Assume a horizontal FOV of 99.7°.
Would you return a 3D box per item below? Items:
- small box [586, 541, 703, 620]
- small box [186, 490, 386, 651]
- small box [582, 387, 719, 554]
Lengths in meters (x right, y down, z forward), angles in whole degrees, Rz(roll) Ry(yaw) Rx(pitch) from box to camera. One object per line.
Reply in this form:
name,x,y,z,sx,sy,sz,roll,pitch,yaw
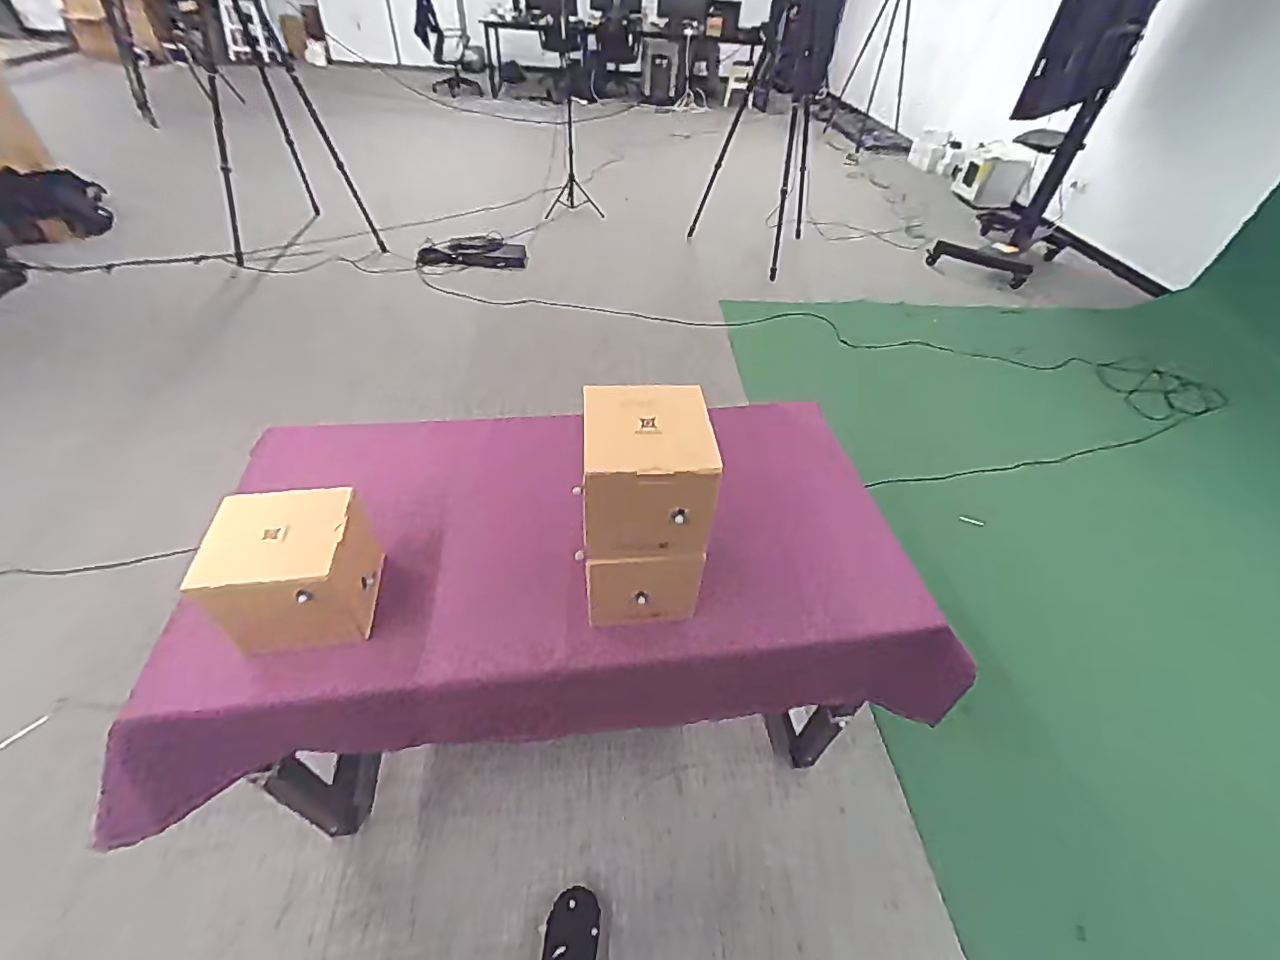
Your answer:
small box,-0.002,0.109,0.860,0.168,0.176,0.179,-3,44,-7
small box,-0.502,0.136,0.800,0.179,0.176,0.168,-4,44,-10
small box,0.005,-0.010,0.749,0.168,0.176,0.179,-1,44,-5
